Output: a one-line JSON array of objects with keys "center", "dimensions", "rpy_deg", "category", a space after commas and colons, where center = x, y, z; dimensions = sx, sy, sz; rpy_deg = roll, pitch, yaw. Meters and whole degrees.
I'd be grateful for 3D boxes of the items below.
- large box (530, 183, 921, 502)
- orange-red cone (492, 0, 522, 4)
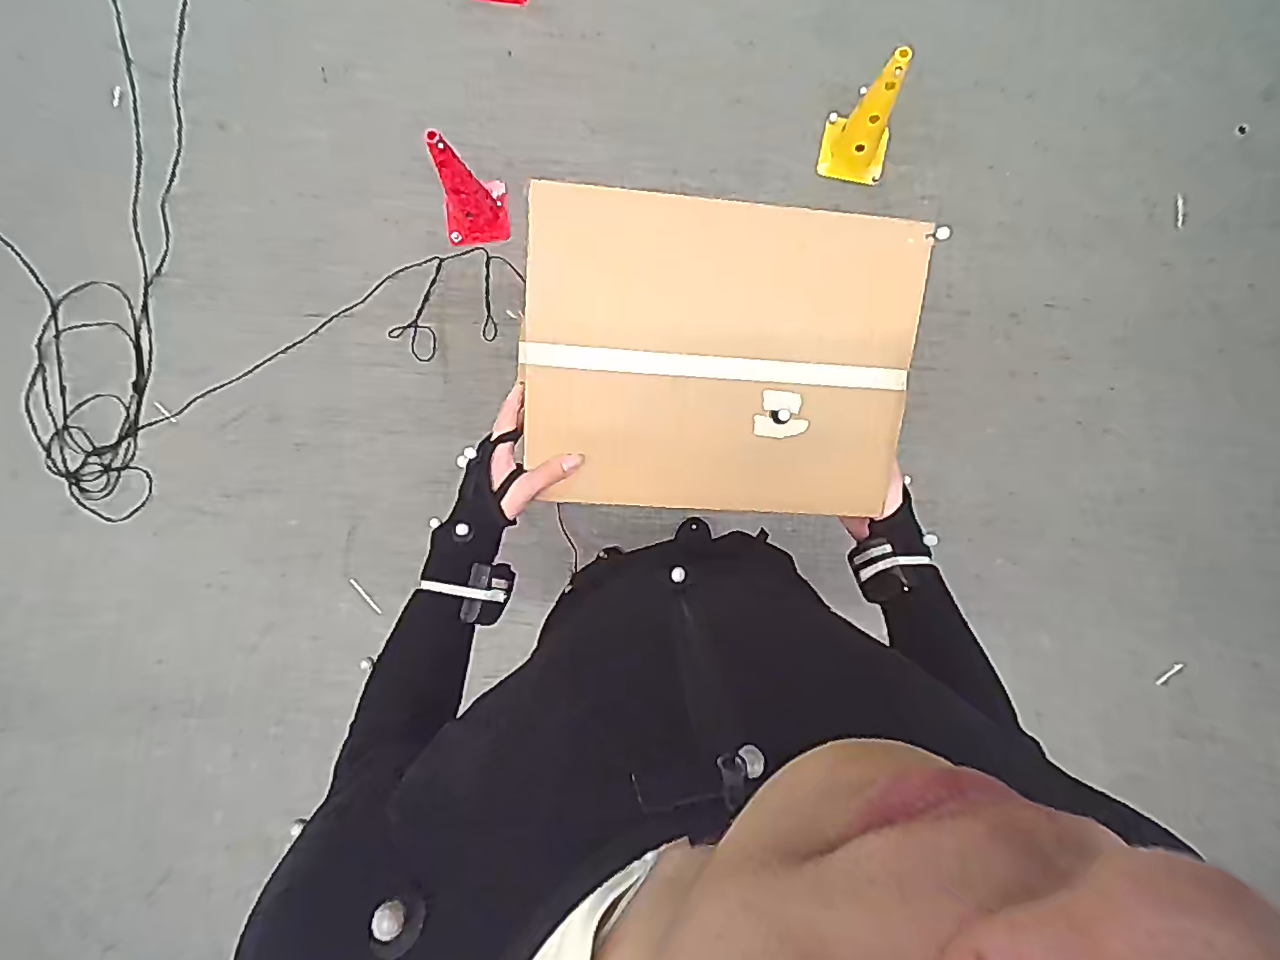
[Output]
[{"center": [0.070, -0.162, 0.711], "dimensions": [0.408, 0.320, 0.320], "rpy_deg": [2, 105, -7], "category": "large box"}, {"center": [-0.472, -1.690, 1.620], "dimensions": [0.199, 0.360, 0.198], "rpy_deg": [10, 85, 4], "category": "orange-red cone"}]
